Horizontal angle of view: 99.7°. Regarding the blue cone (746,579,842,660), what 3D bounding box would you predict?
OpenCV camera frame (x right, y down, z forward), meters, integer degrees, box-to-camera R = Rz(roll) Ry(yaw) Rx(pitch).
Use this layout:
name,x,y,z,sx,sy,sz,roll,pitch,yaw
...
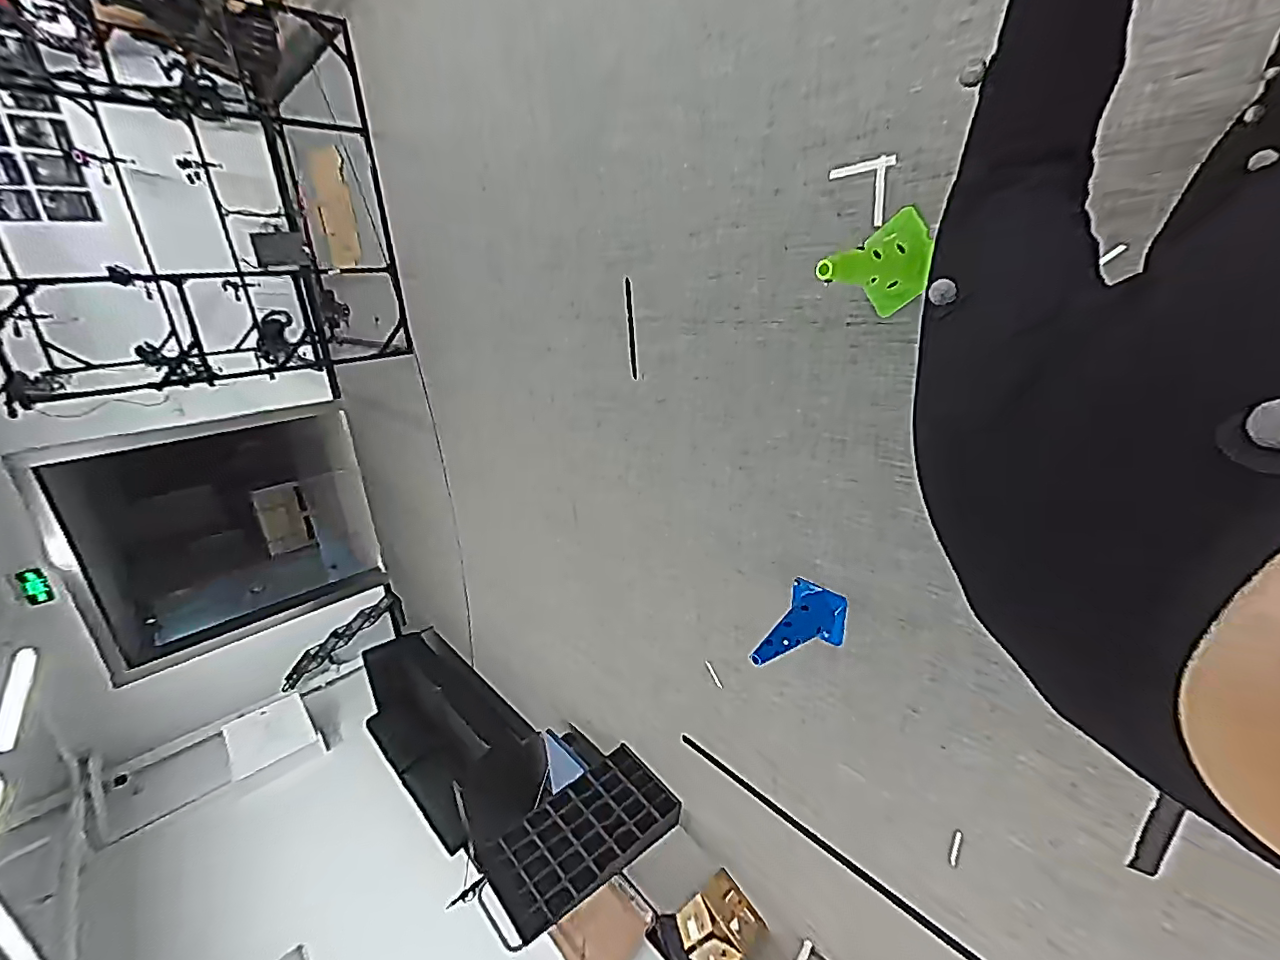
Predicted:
name,x,y,z,sx,sy,sz,roll,pitch,yaw
blue cone,0.490,0.497,1.790,0.192,0.380,0.193,23,123,44

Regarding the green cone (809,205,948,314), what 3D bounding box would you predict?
name,x,y,z,sx,sy,sz,roll,pitch,yaw
green cone,0.520,-0.509,1.274,0.202,0.368,0.200,-38,75,52
